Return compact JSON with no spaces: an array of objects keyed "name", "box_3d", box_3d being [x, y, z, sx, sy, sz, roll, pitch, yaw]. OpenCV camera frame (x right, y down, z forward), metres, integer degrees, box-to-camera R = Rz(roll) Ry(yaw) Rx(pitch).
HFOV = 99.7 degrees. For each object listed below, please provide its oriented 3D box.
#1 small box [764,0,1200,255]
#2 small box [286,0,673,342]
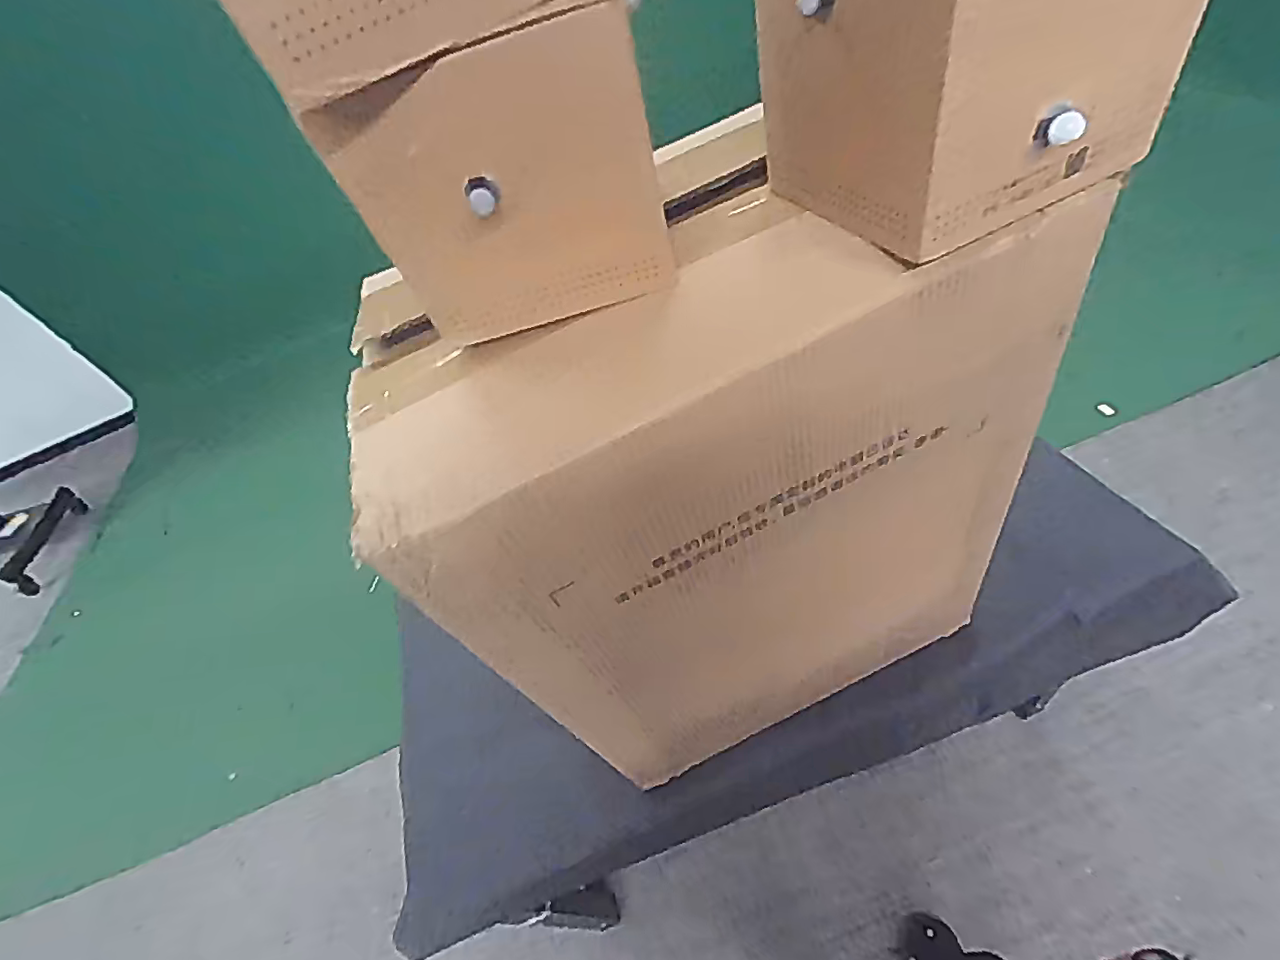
[{"name":"small box","box_3d":[0.185,-0.266,0.327,0.168,0.176,0.179,-26,48,-3]},{"name":"small box","box_3d":[-0.089,-0.223,0.372,0.179,0.176,0.168,-15,56,6]}]
